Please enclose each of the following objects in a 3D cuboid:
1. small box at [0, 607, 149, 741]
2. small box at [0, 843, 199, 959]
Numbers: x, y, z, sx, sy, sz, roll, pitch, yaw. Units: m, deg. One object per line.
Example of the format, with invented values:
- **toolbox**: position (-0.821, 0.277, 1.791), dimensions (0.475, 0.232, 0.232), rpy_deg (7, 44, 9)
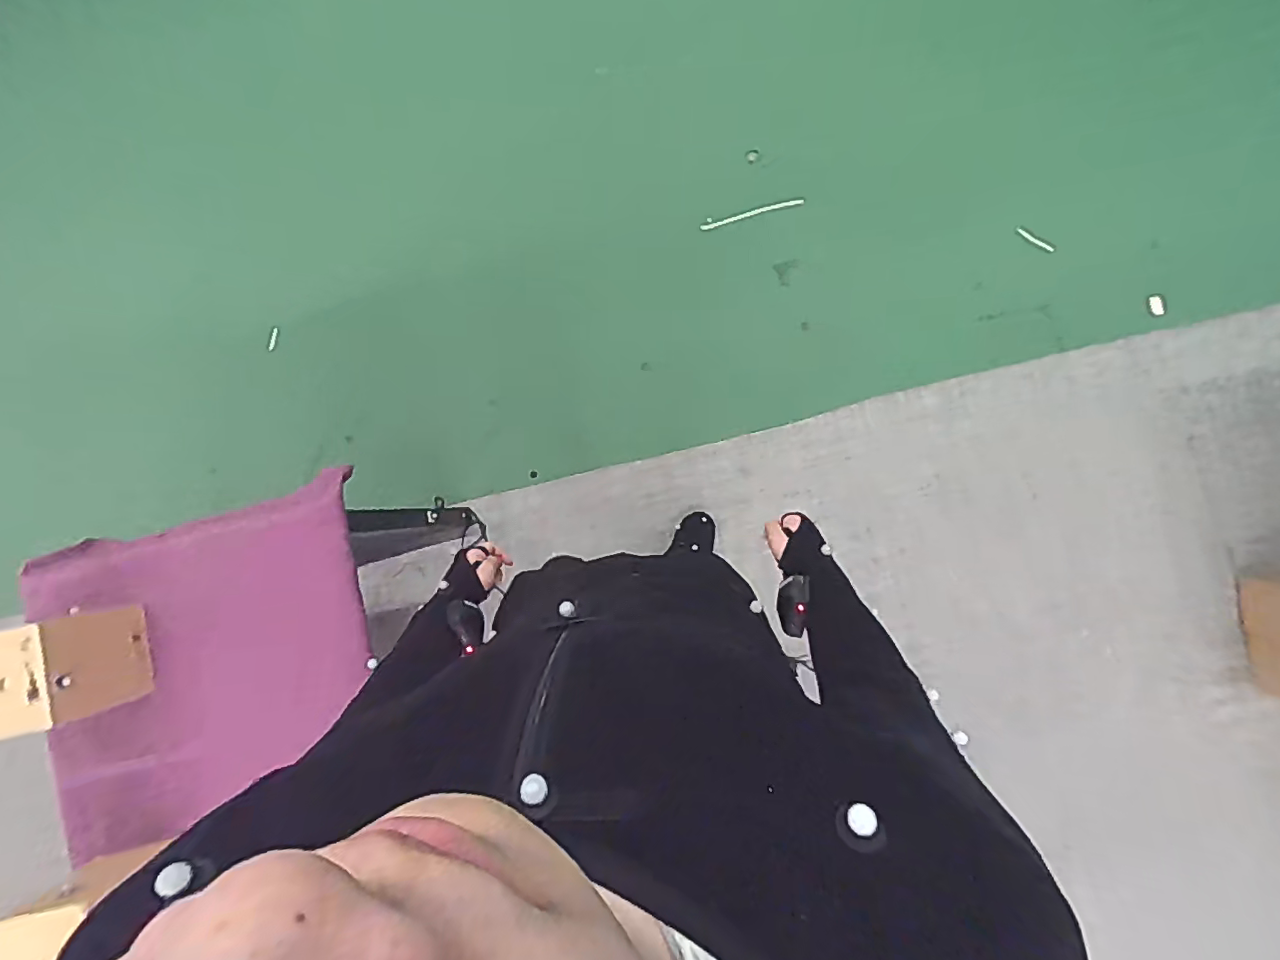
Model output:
- **small box**: position (-0.990, 0.322, 0.906), dimensions (0.179, 0.176, 0.168), rpy_deg (-12, 88, 4)
- **small box**: position (-0.881, 0.738, 0.882), dimensions (0.179, 0.176, 0.168), rpy_deg (-16, 86, 3)
